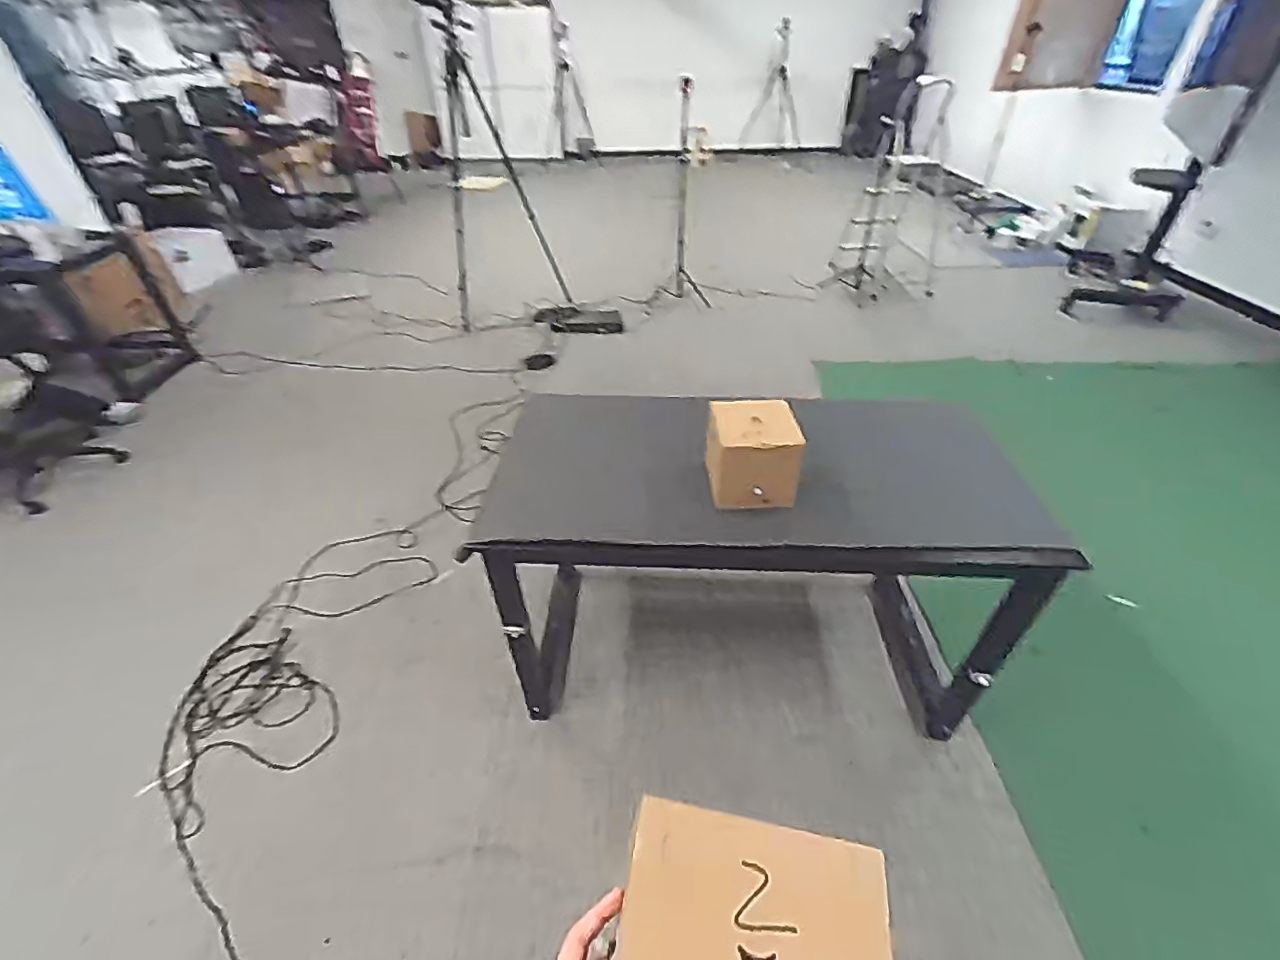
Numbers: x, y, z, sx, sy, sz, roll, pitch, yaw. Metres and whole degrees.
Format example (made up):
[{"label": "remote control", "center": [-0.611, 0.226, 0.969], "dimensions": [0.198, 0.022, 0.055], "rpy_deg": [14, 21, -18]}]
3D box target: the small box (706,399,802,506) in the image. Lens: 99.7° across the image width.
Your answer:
[{"label": "small box", "center": [0.237, -0.060, 1.169], "dimensions": [0.168, 0.176, 0.179], "rpy_deg": [-2, 38, 0]}]
